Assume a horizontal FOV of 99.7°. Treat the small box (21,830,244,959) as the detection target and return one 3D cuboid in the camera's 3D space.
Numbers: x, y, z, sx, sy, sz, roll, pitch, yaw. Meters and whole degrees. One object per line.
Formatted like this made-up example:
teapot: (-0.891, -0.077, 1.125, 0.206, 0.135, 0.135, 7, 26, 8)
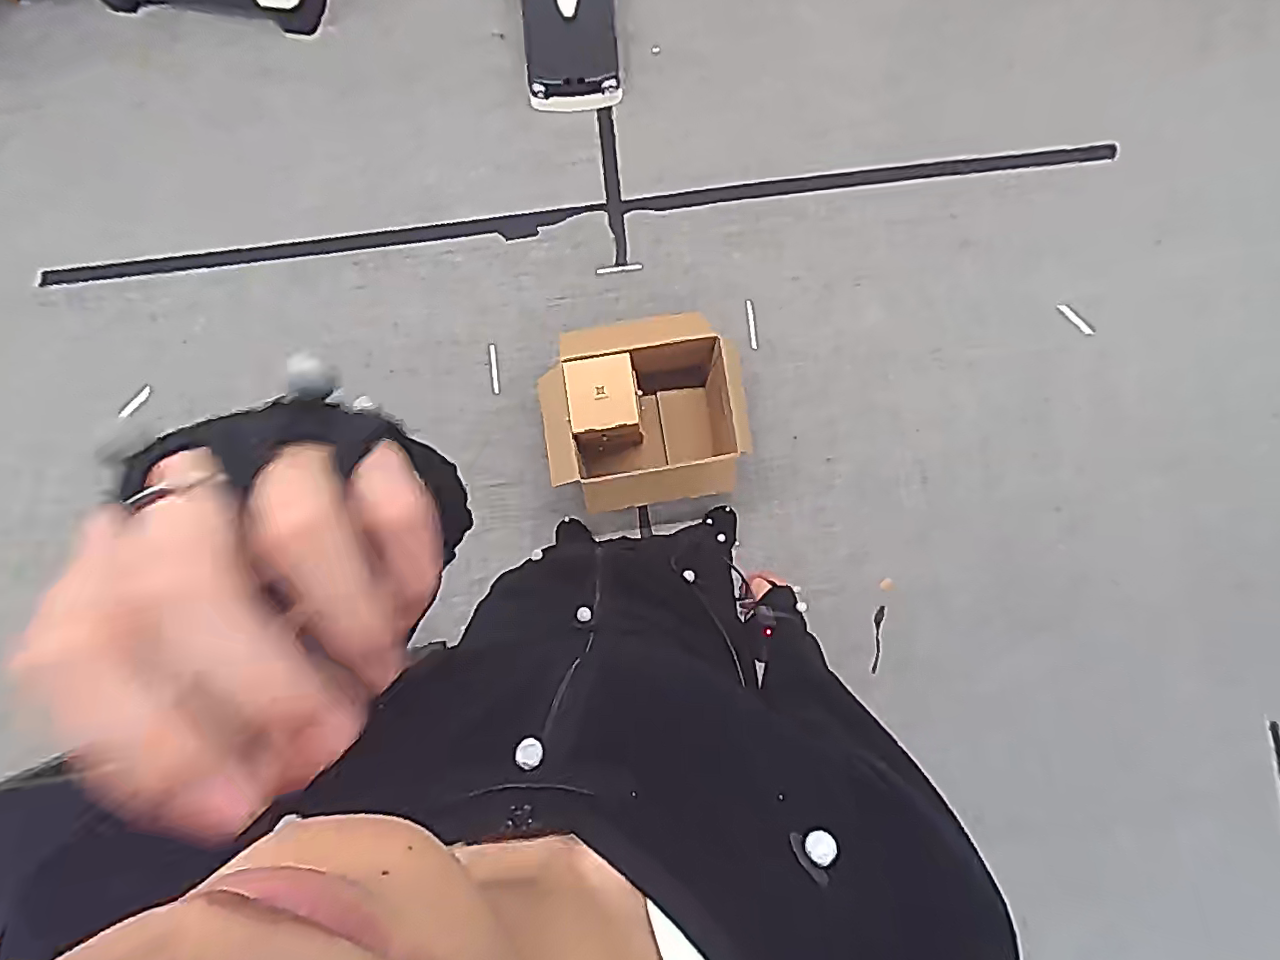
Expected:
small box: (-0.723, 0.642, 0.786, 0.179, 0.176, 0.168, -2, 89, -1)
